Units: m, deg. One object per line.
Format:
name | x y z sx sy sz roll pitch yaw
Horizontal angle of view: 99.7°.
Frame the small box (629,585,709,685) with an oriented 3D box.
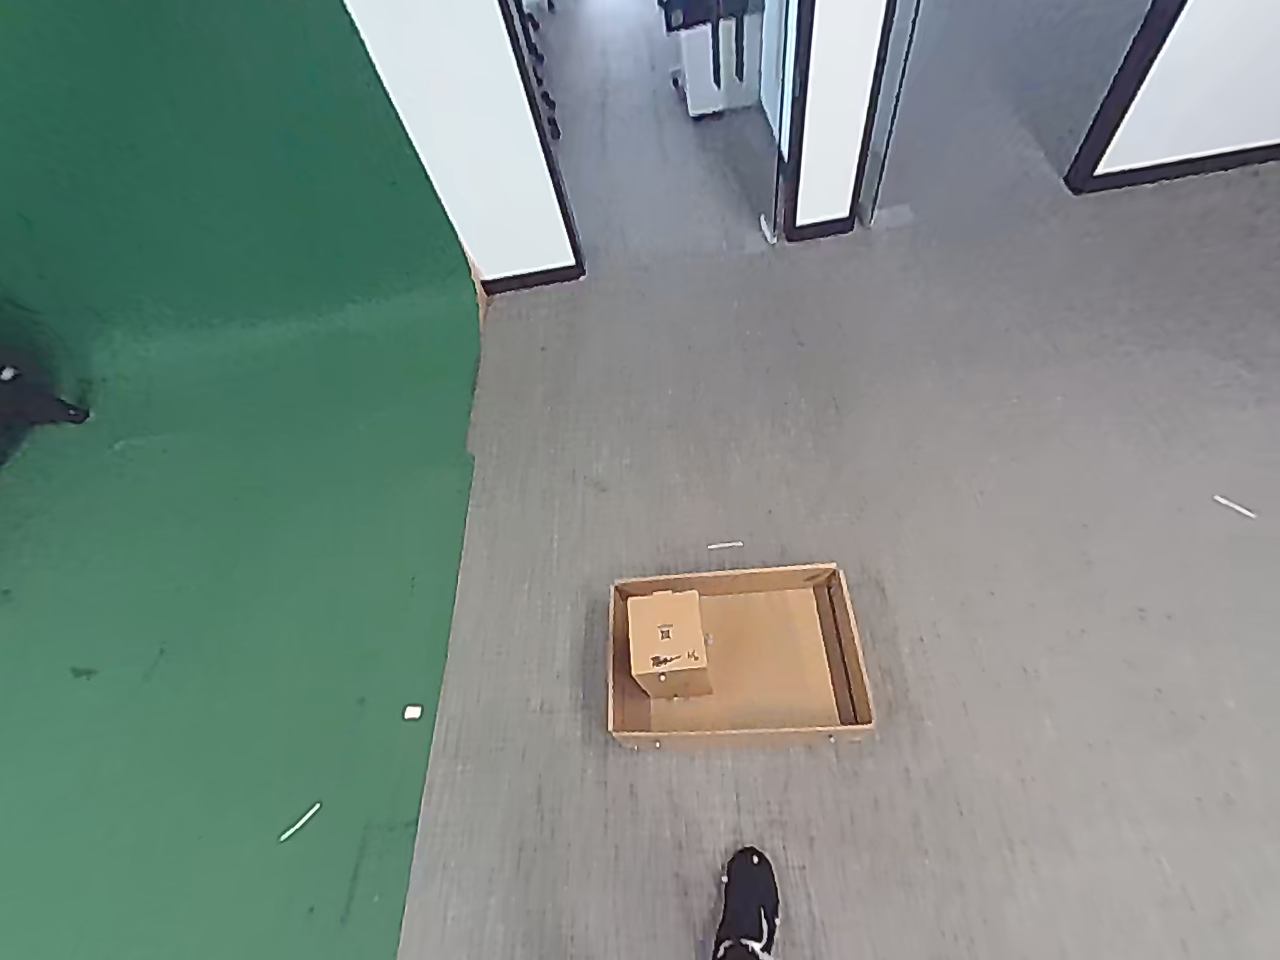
small box | 0.068 0.364 1.259 0.168 0.176 0.179 -8 57 6
